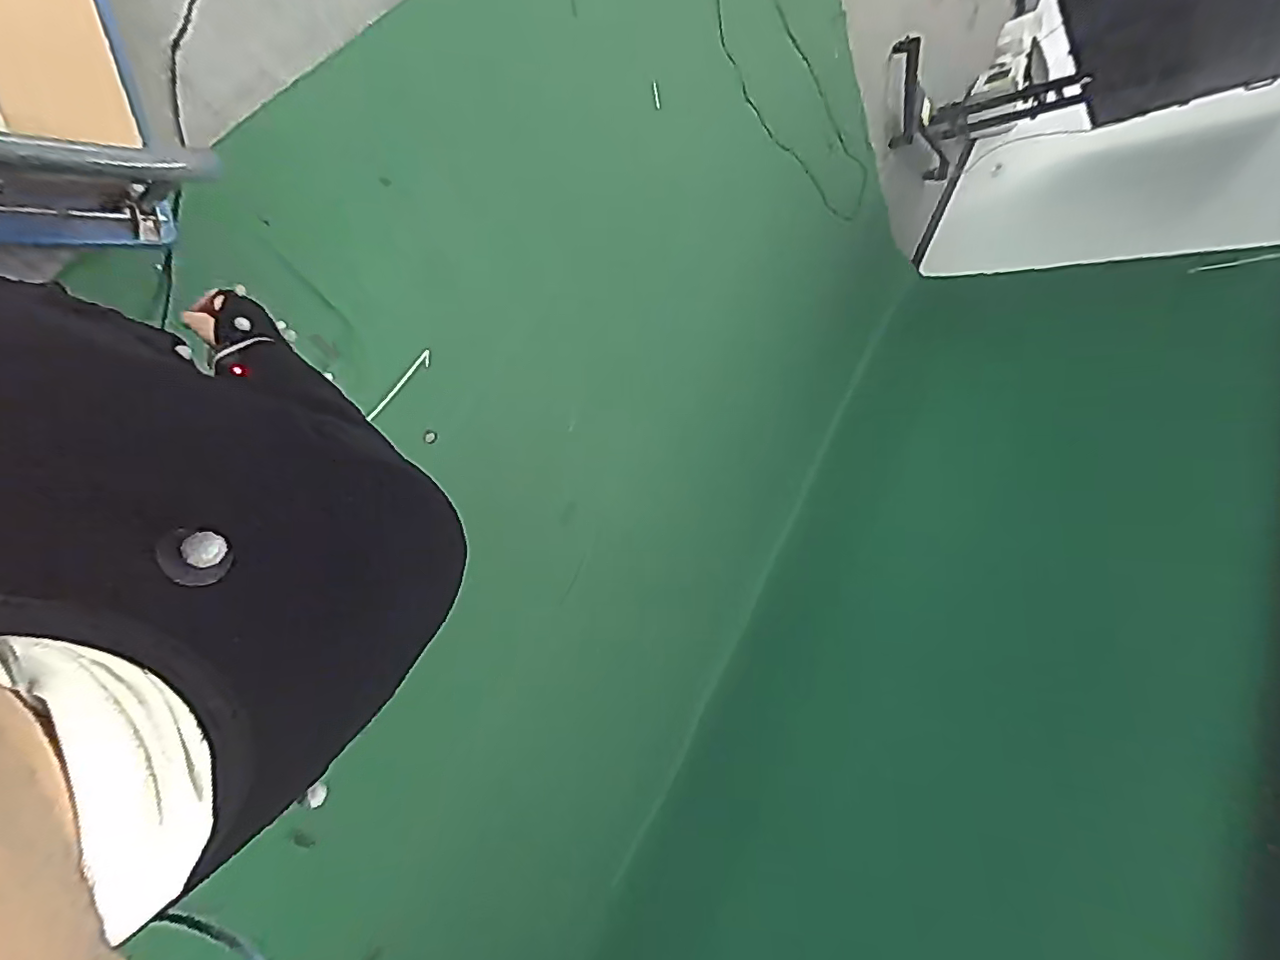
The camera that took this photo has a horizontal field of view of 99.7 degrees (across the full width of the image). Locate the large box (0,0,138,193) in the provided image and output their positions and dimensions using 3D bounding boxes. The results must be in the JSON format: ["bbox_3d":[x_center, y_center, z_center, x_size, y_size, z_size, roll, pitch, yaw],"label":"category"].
[{"bbox_3d":[-1.023,-0.674,0.791,0.320,0.320,0.408,-24,114,-42],"label":"large box"}]
